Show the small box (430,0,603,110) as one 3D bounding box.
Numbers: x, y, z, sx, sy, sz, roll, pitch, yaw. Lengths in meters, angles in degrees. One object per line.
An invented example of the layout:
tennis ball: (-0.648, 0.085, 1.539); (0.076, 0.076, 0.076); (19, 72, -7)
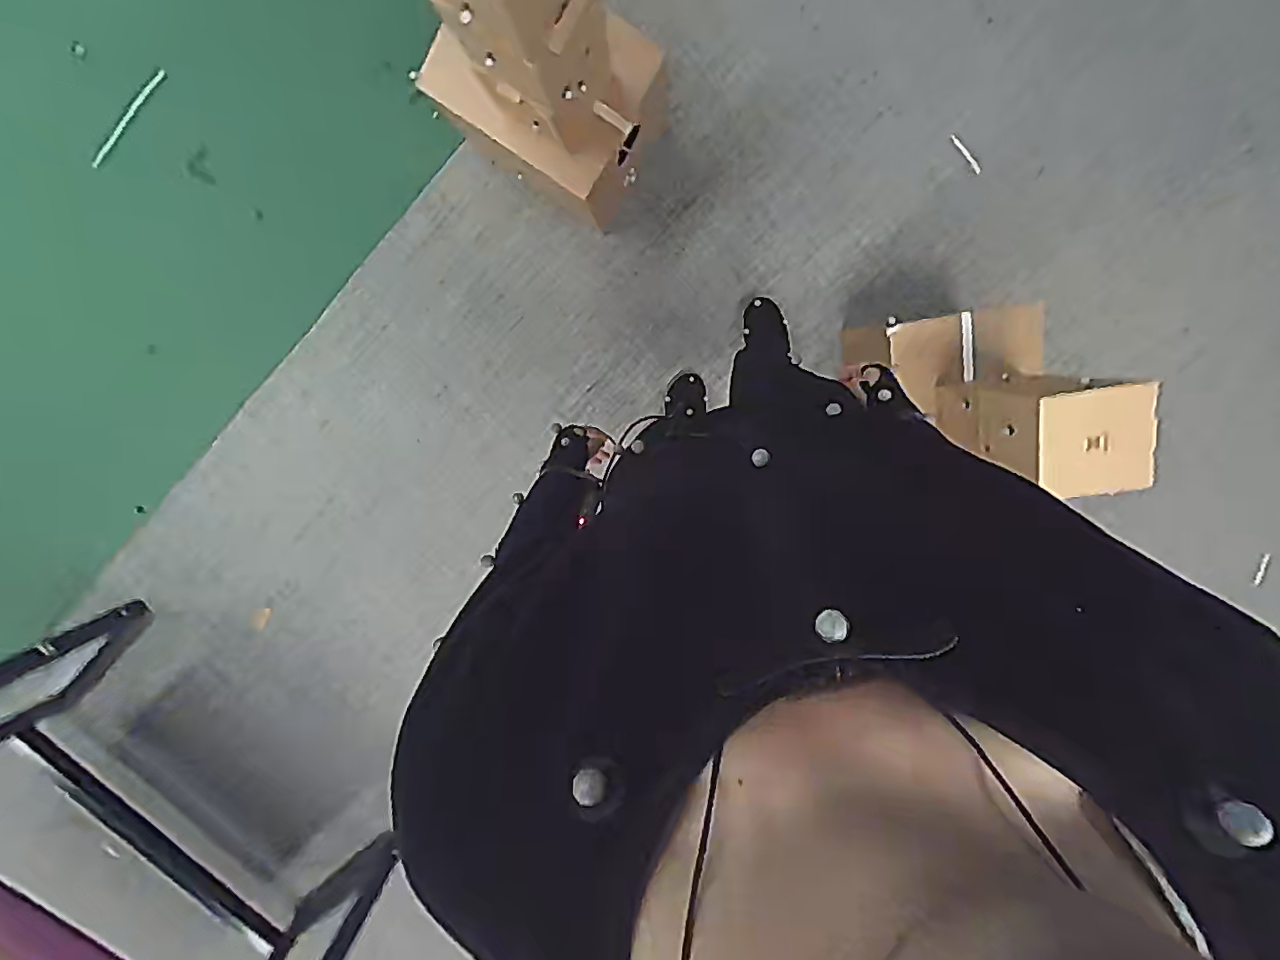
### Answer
small box: (-0.171, -0.698, 0.806); (0.179, 0.176, 0.168); (32, 102, -4)

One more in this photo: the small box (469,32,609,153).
small box: (-0.168, -0.731, 0.966); (0.168, 0.176, 0.179); (33, 102, -5)

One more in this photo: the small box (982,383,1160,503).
small box: (0.696, -0.067, 0.895); (0.179, 0.176, 0.168); (-8, 101, 3)

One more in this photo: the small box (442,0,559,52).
small box: (-0.180, -0.666, 0.644); (0.179, 0.176, 0.168); (33, 102, -6)

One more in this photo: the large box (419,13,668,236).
large box: (-0.184, -0.815, 1.198); (0.408, 0.320, 0.320); (33, 100, -3)
